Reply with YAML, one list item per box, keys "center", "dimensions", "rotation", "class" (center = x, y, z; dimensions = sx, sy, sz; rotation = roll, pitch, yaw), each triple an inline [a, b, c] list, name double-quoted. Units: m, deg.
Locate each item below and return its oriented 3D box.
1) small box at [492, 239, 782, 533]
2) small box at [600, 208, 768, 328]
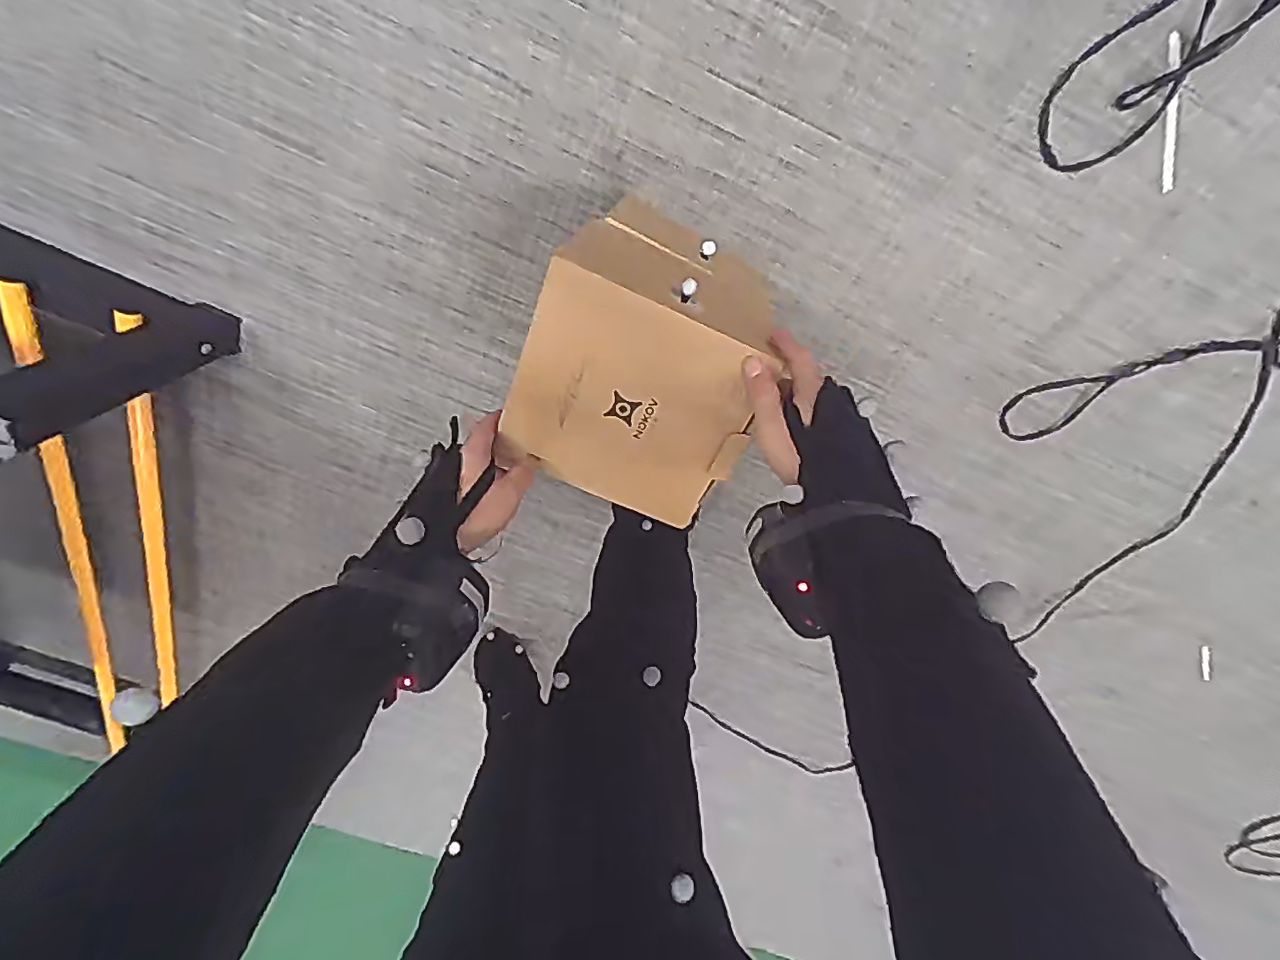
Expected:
- center: [-0.002, -0.090, 0.472]
  dimensions: [0.179, 0.176, 0.168]
  rotation: [23, 121, -7]
  class: "small box"
- center: [0.019, -0.181, 0.606]
  dimensions: [0.179, 0.176, 0.168]
  rotation: [25, 123, -10]
  class: "small box"
